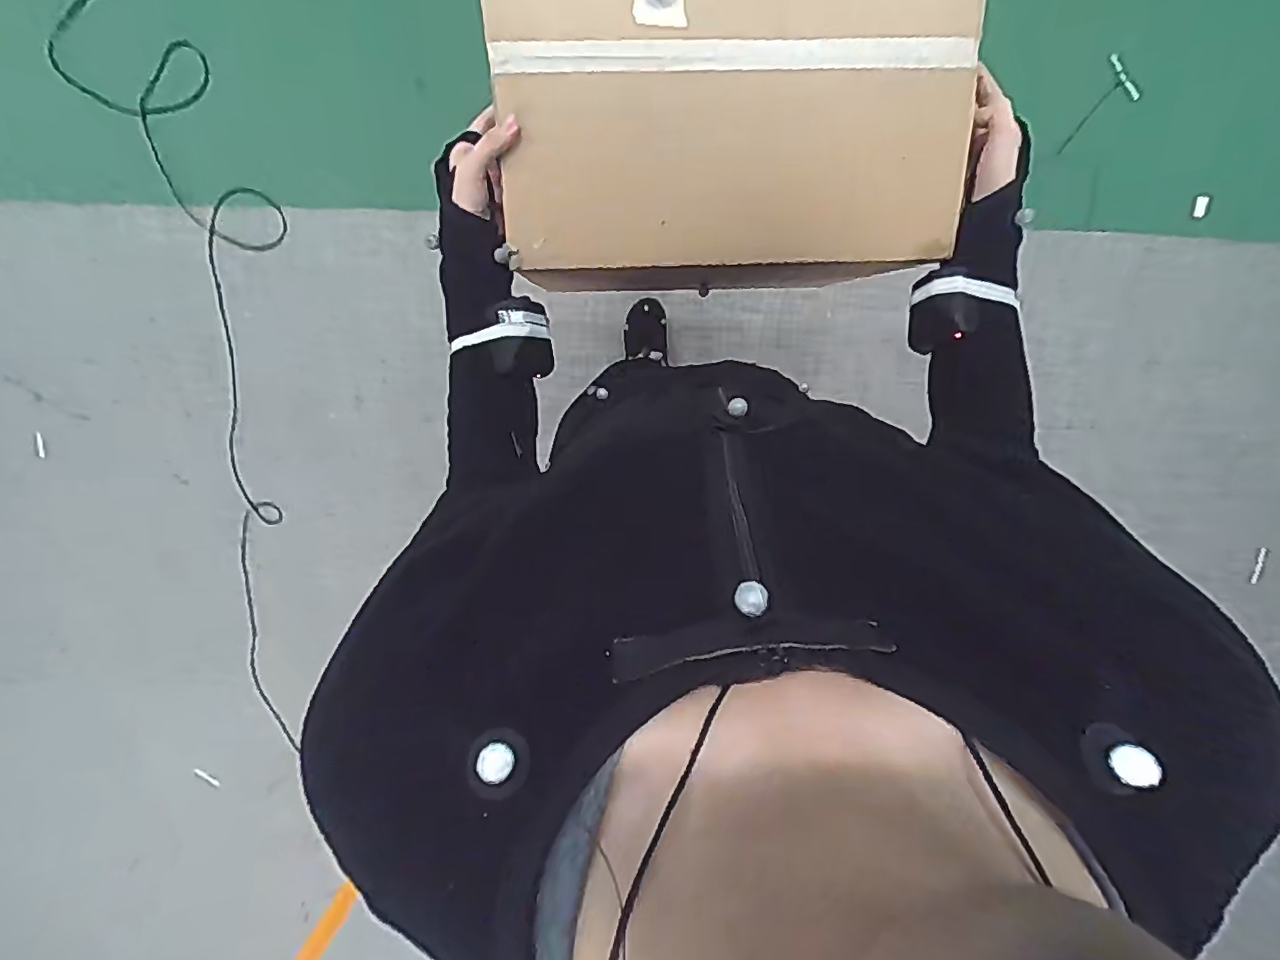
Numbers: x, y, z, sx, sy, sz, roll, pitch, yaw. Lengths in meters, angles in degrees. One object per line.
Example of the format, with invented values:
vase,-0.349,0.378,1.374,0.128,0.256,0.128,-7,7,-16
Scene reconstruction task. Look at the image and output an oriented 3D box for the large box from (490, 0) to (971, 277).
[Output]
large box,0.072,-0.401,0.596,0.408,0.320,0.320,-2,106,-2
